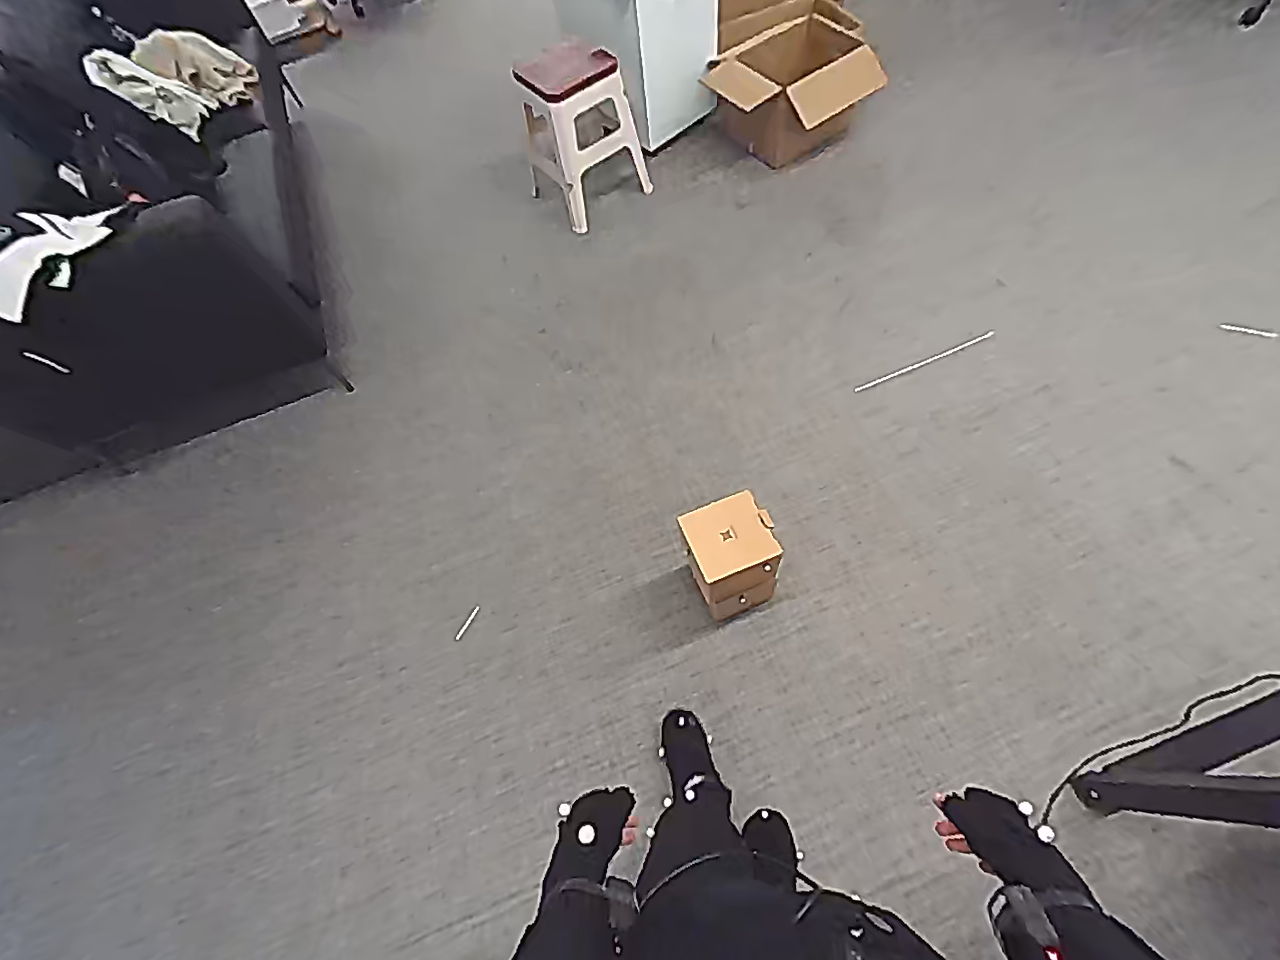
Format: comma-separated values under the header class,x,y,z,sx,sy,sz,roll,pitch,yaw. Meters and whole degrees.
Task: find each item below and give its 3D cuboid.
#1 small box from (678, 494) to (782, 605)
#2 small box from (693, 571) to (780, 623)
class,x,y,z,sx,sy,sz,roll,pitch,yaw
small box,0.203,0.164,1.228,0.179,0.176,0.168,-22,61,-5
small box,0.234,0.238,1.371,0.168,0.176,0.179,-22,61,-4
